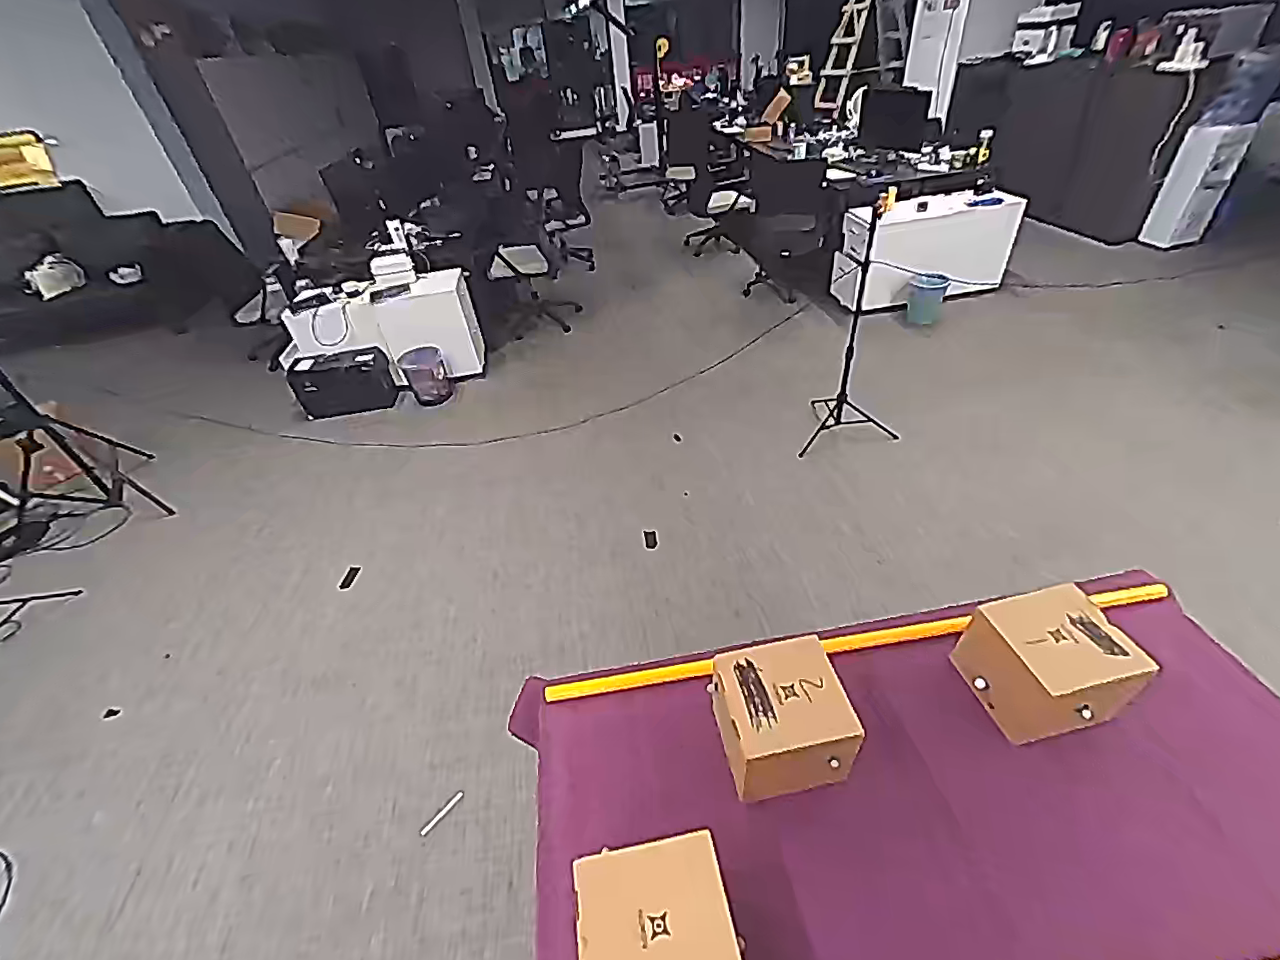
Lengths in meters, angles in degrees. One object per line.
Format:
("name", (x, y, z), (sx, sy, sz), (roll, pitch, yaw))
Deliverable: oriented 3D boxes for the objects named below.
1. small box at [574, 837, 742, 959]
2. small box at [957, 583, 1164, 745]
("small box", (0.023, 0.566, 0.651), (0.179, 0.176, 0.168), (-11, 39, -5))
("small box", (0.657, 0.297, 0.873), (0.179, 0.176, 0.168), (-13, 41, -4))
